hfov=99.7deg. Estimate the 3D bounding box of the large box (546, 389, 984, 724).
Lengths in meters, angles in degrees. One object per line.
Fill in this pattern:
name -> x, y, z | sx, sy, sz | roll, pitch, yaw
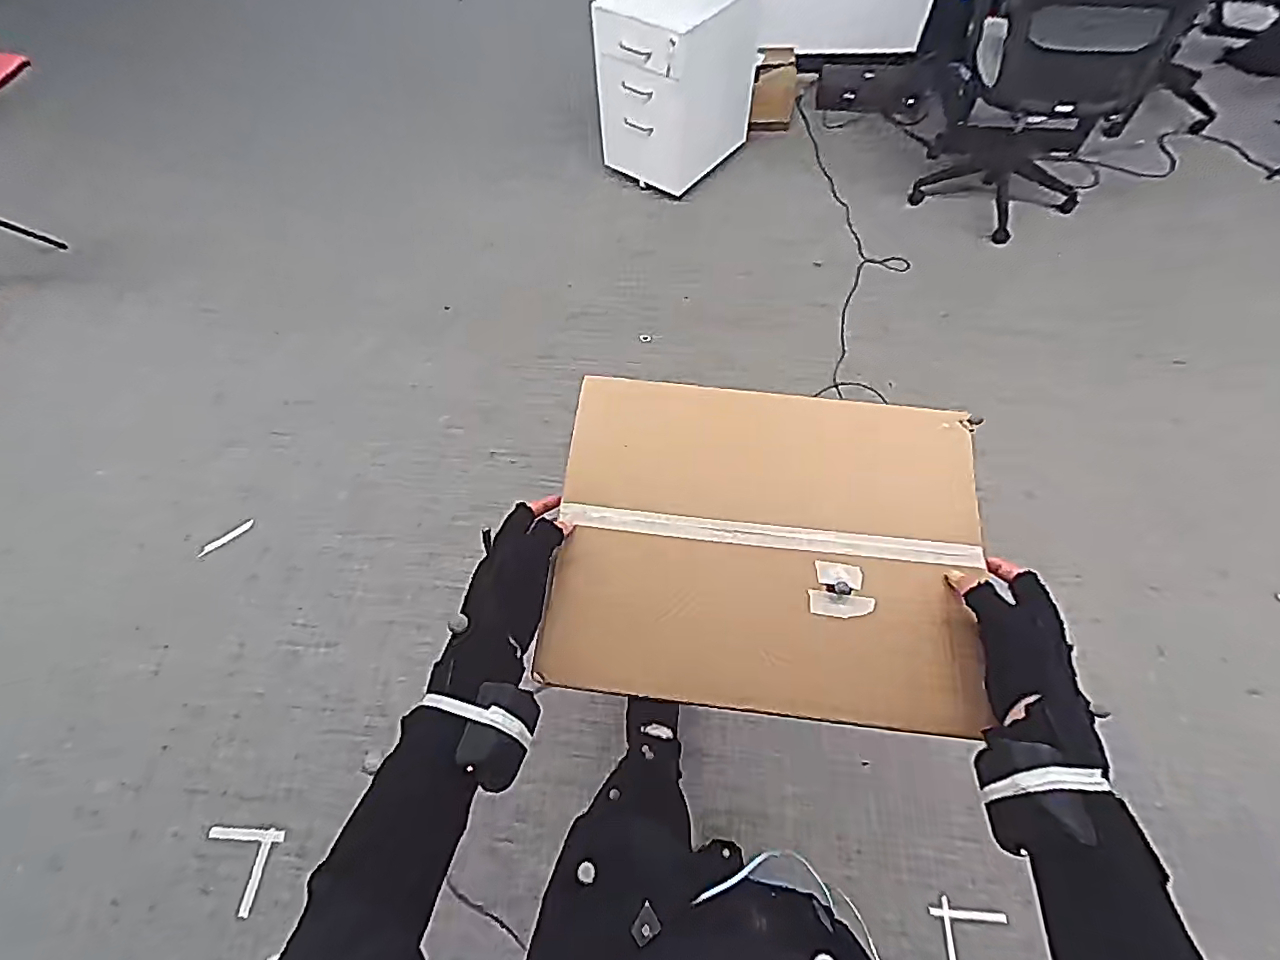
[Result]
large box -> 0.123, 0.111, 0.676 | 0.408, 0.320, 0.320 | 6, 70, 3
